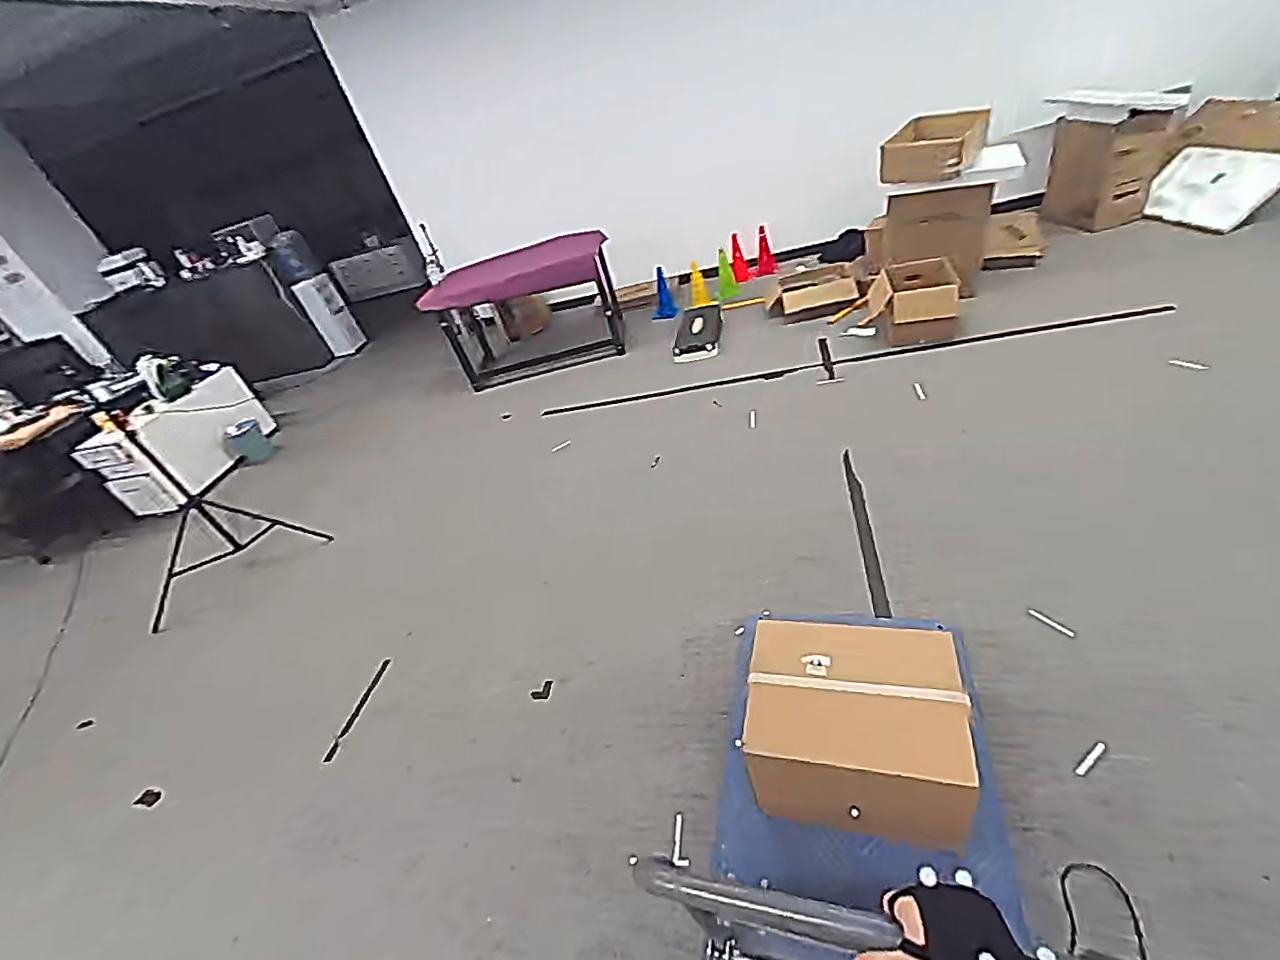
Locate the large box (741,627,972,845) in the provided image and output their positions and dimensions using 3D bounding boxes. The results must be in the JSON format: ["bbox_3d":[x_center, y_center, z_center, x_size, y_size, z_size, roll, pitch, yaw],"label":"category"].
[{"bbox_3d":[0.461,0.547,1.188,0.408,0.320,0.320,-4,37,22],"label":"large box"}]
